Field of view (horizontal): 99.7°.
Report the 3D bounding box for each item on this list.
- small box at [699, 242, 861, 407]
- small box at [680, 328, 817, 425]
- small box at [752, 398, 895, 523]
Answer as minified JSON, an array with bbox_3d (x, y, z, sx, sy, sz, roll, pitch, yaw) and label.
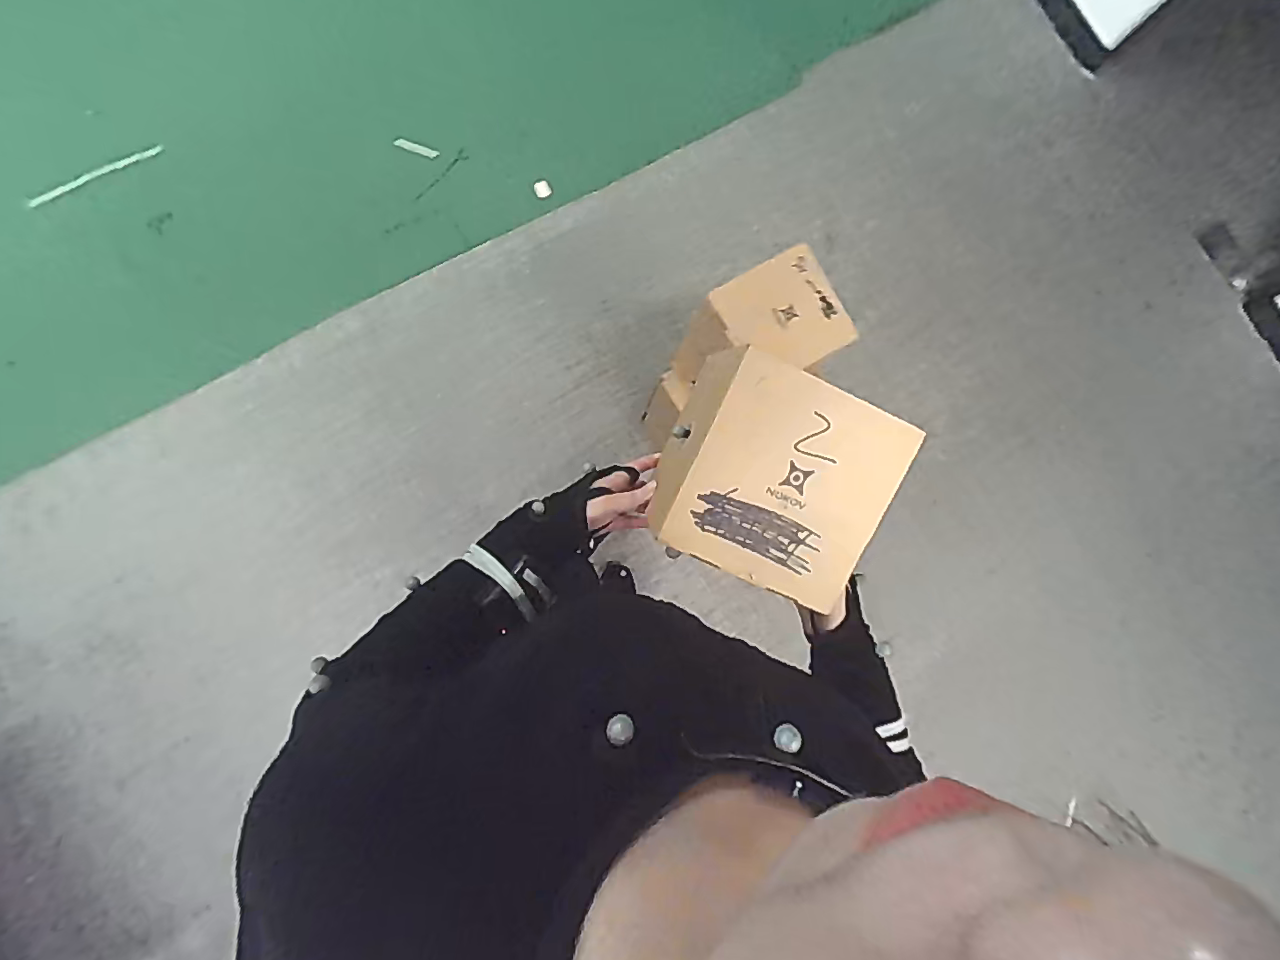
[{"bbox_3d":[0.207,-0.235,0.865,0.179,0.176,0.168,-29,89,-6],"label":"small box"},{"bbox_3d":[0.197,-0.225,1.029,0.179,0.176,0.168,-30,89,-6],"label":"small box"},{"bbox_3d":[0.329,-0.028,1.020,0.179,0.176,0.168,-27,87,-8],"label":"small box"}]
